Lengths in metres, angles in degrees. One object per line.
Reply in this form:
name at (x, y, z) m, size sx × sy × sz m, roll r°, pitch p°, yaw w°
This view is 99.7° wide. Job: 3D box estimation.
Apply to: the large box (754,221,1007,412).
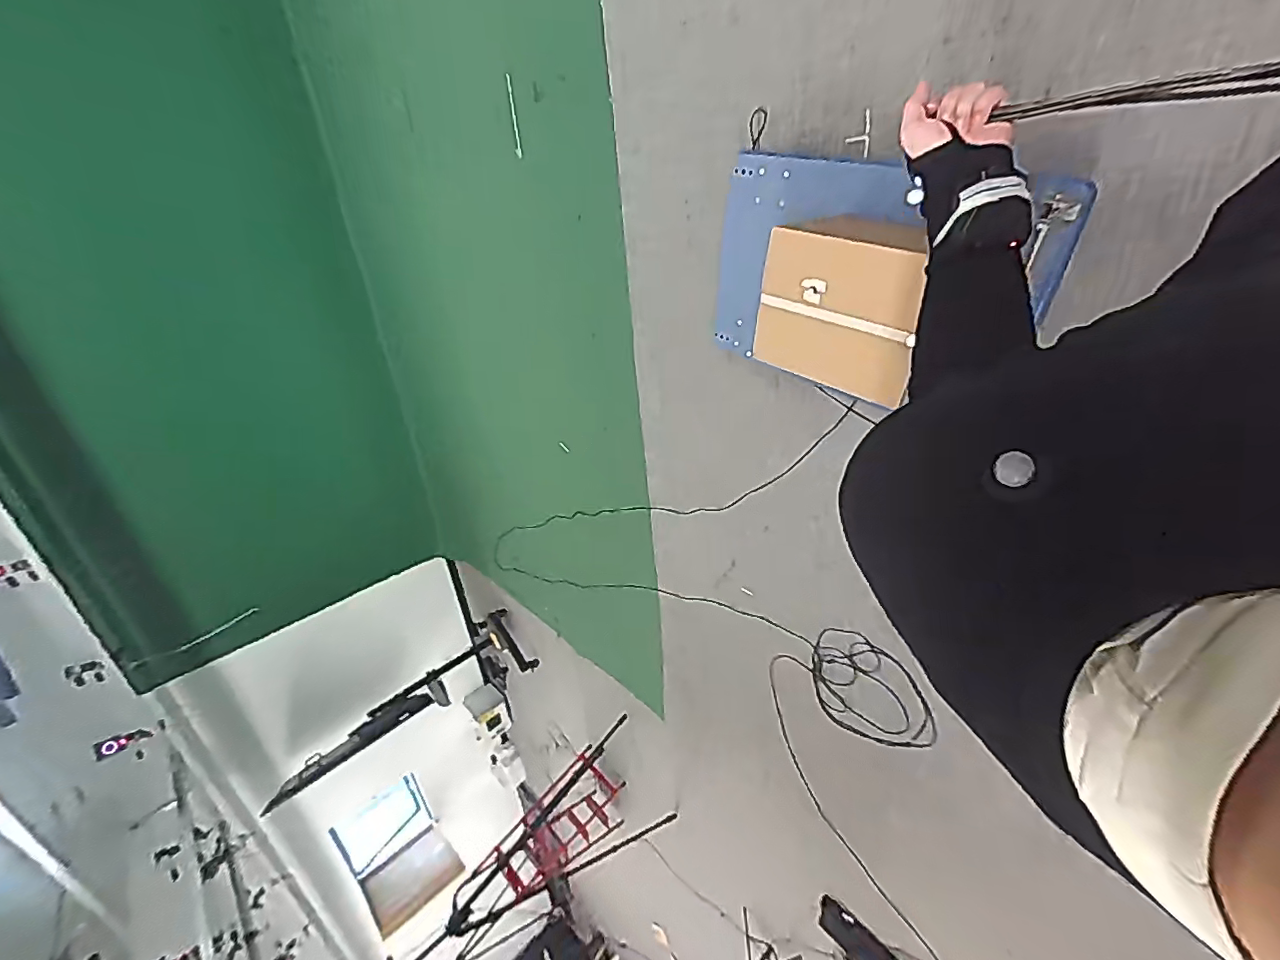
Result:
large box at (0.538, -0.401, 1.259) m, size 0.408 × 0.320 × 0.320 m, roll 32°, pitch 133°, yaw 36°
